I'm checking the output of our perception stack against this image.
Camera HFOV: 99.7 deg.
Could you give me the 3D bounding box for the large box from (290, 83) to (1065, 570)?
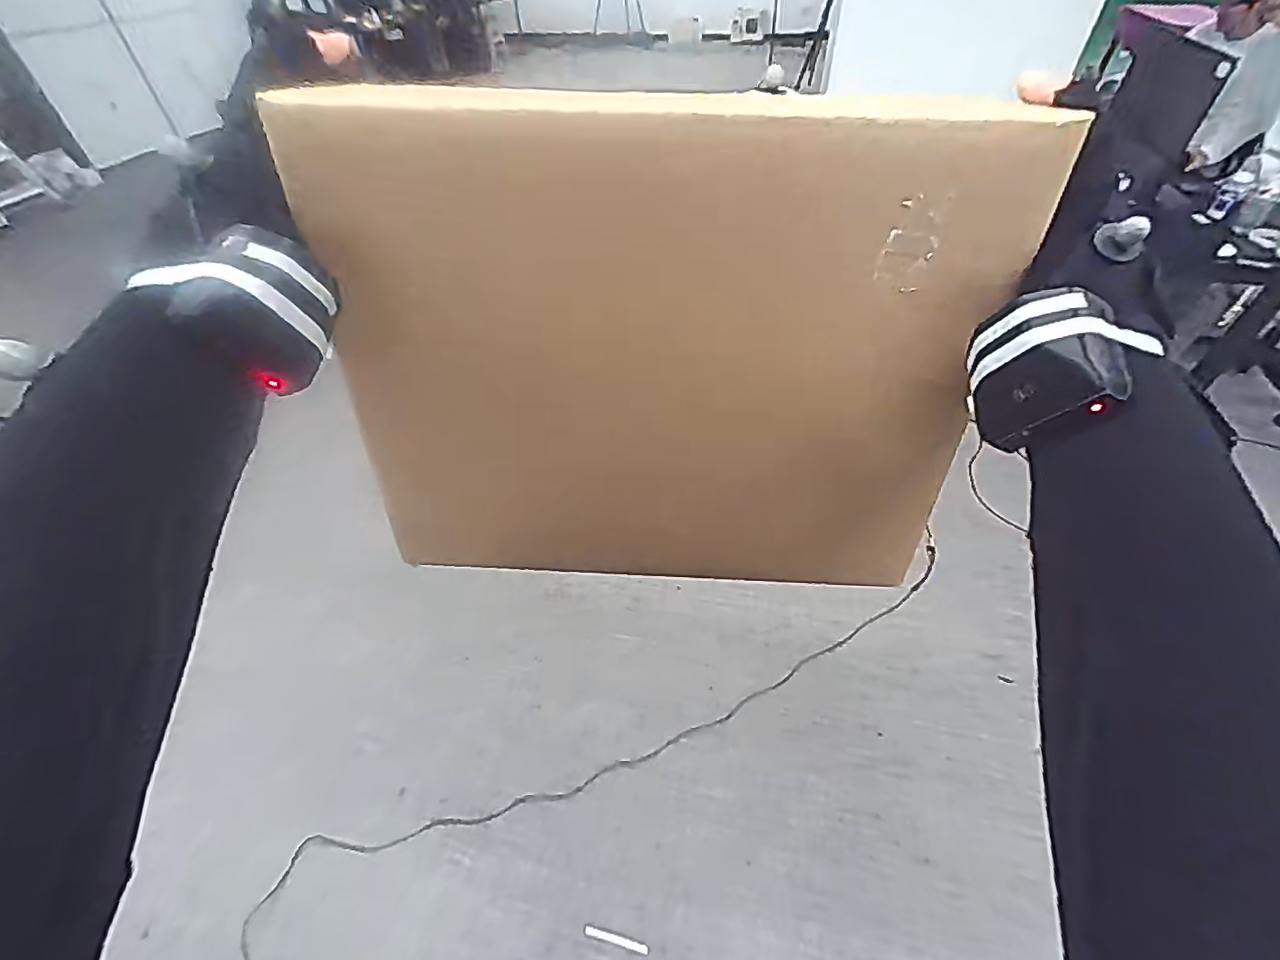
[{"bbox_3d":[0.016,-0.140,0.476,0.408,0.320,0.320,3,35,1],"label":"large box"}]
